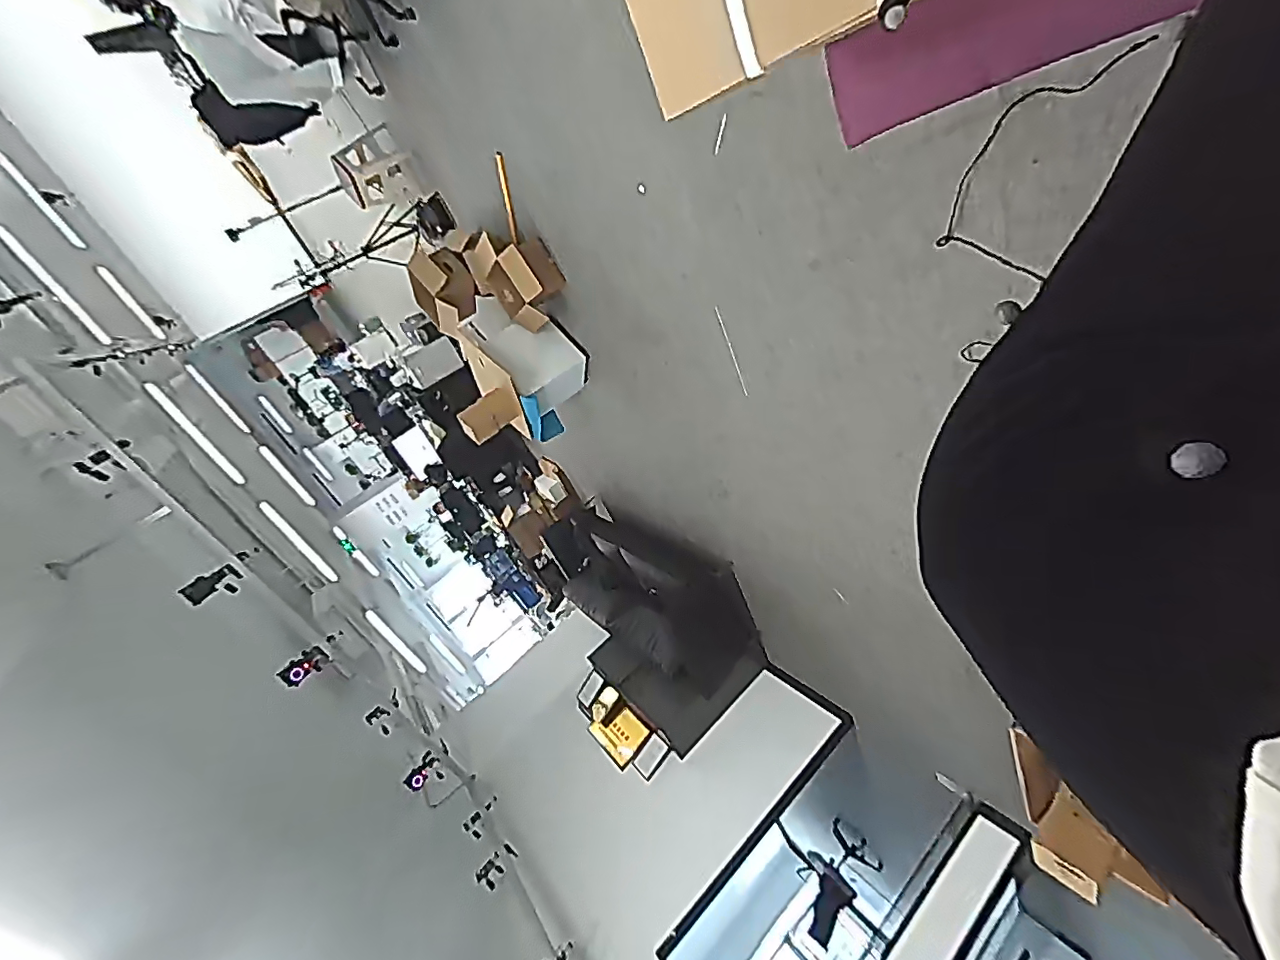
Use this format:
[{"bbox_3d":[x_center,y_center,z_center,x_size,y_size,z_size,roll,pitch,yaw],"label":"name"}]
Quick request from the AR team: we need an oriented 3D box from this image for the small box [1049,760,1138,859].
[{"bbox_3d":[1.433,1.030,1.704,0.179,0.176,0.168,19,144,55],"label":"small box"}]

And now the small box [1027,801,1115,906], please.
[{"bbox_3d":[1.315,1.132,1.651,0.168,0.176,0.179,21,146,53],"label":"small box"}]
